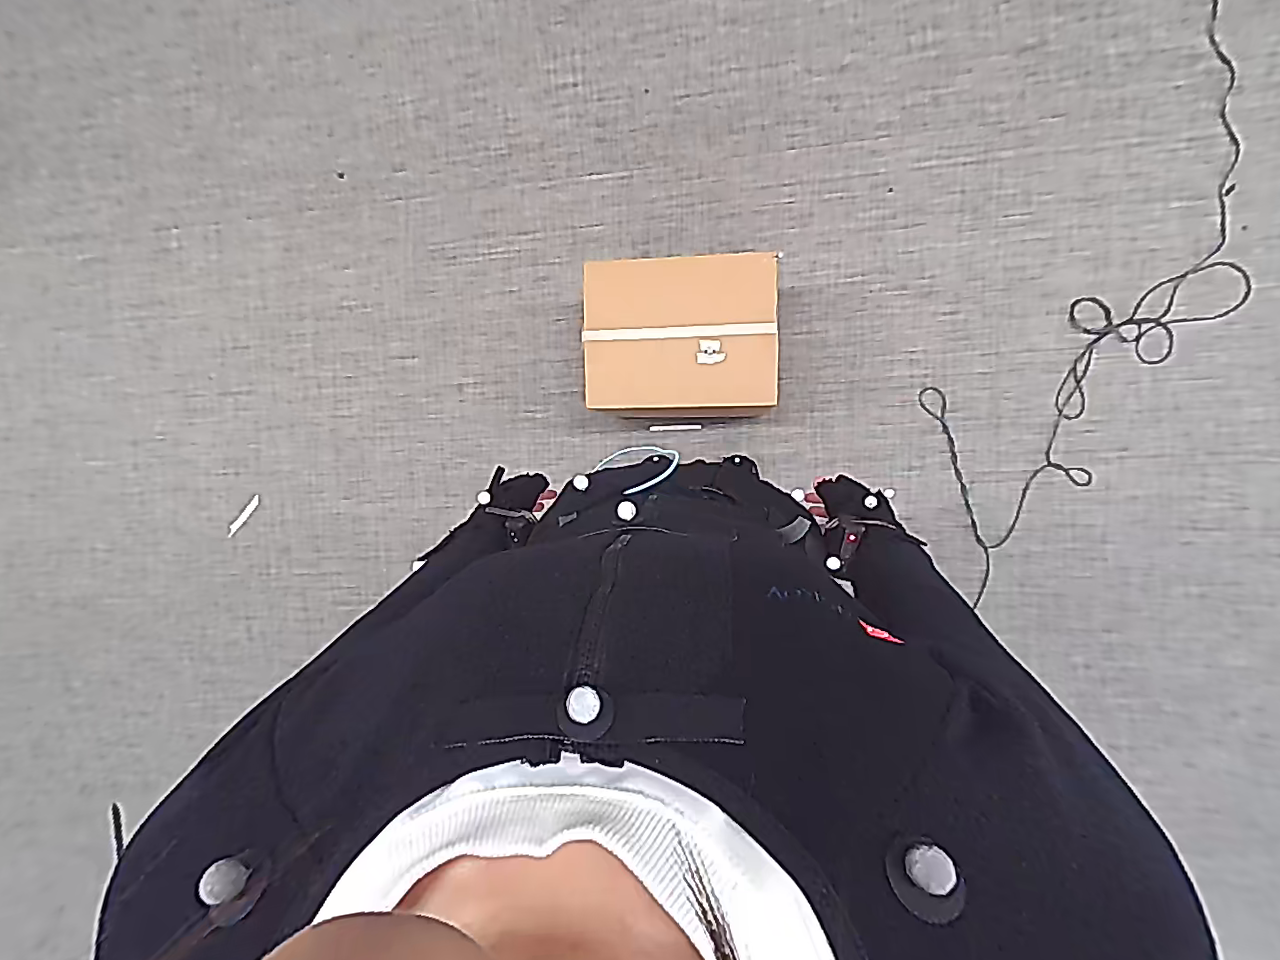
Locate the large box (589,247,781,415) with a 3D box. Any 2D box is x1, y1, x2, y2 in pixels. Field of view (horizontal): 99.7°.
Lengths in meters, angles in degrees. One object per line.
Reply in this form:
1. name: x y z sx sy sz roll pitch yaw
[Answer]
1. large box: 0.108 -0.325 1.277 0.408 0.320 0.320 0 93 7
